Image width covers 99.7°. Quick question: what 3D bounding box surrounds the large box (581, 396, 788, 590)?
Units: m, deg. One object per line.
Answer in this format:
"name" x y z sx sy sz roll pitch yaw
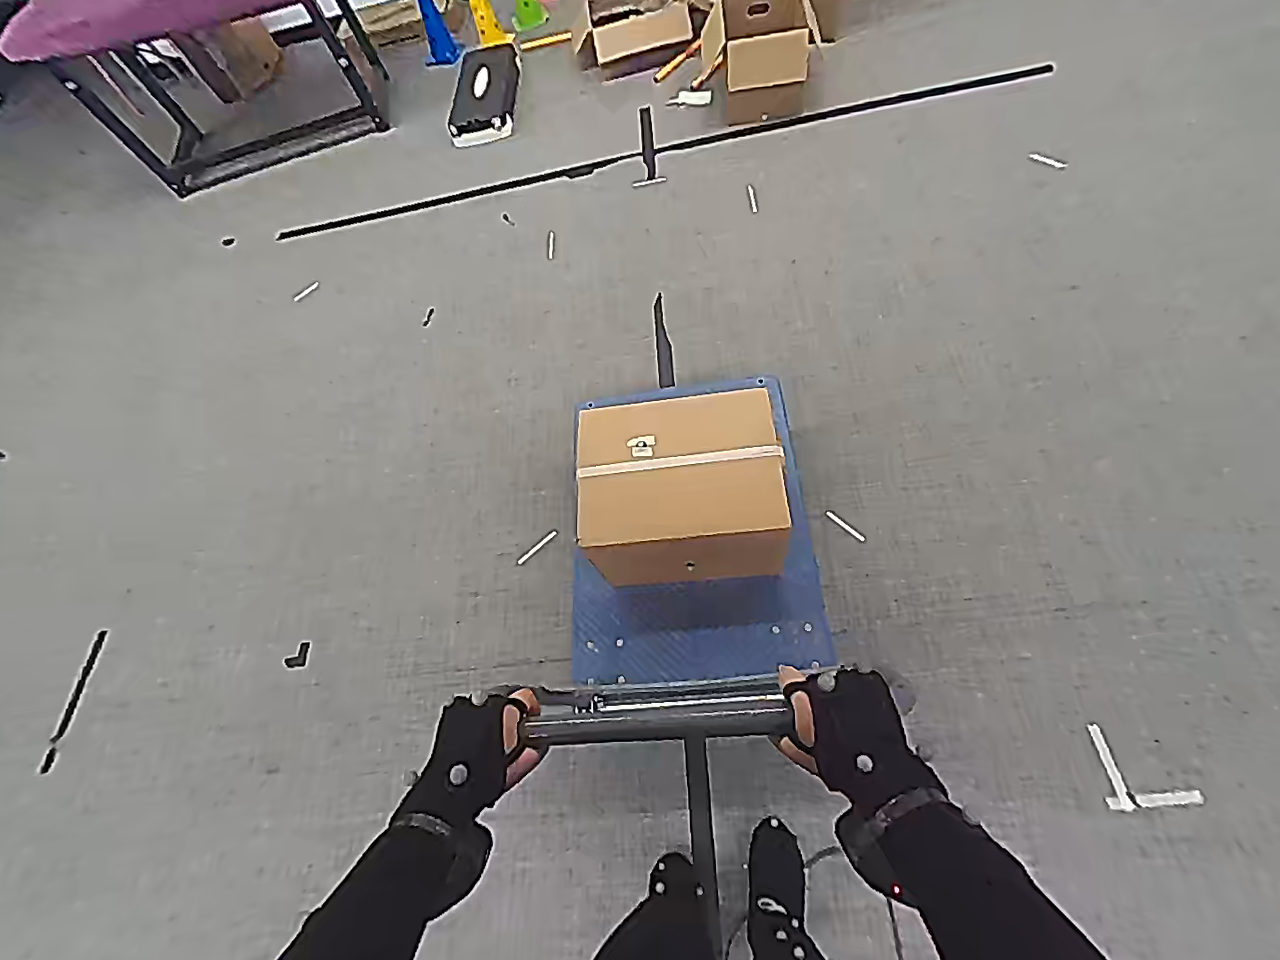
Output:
"large box" 0.102 0.048 1.229 0.408 0.320 0.320 -7 63 9
